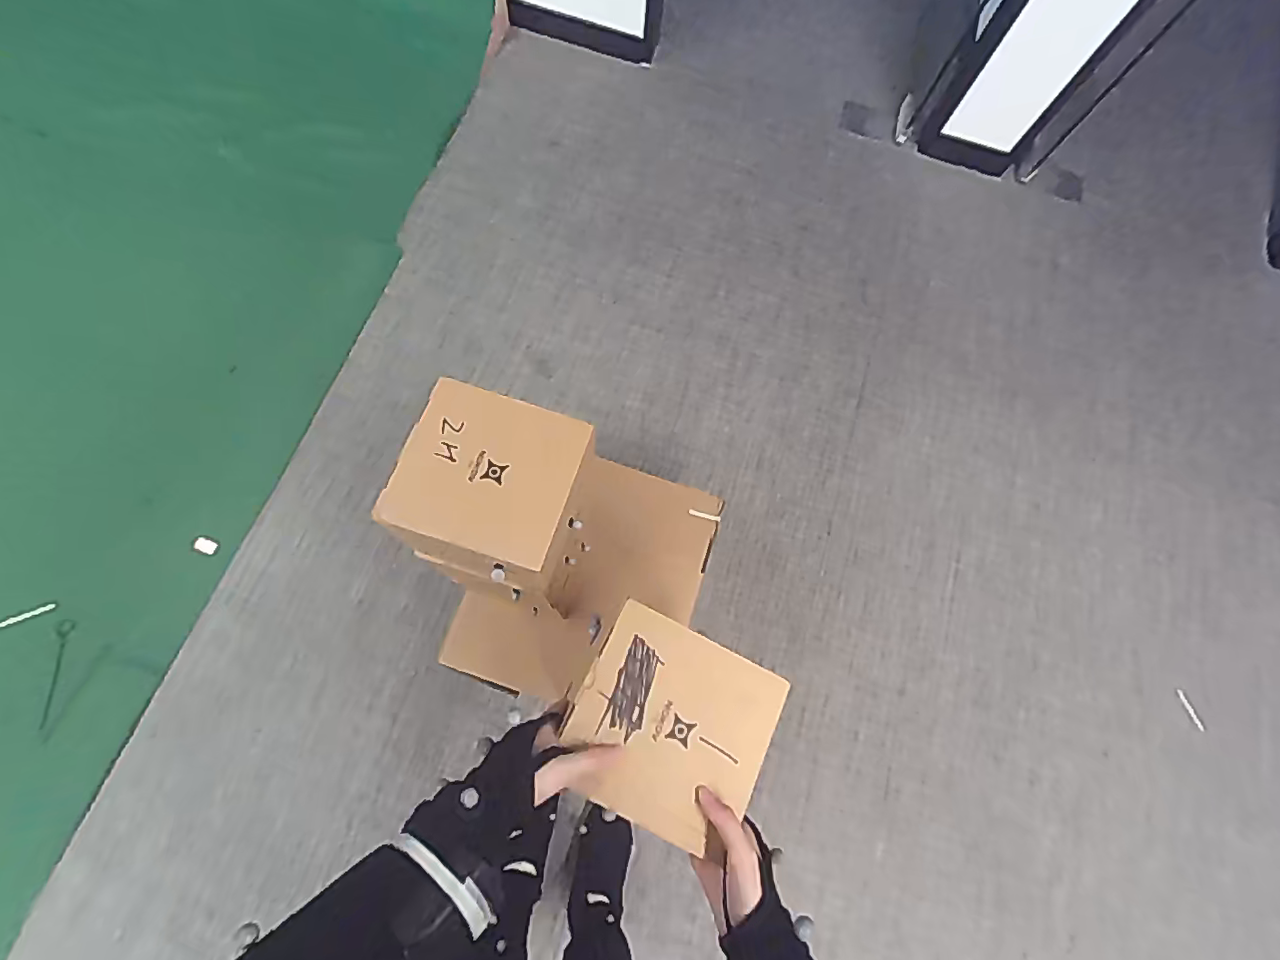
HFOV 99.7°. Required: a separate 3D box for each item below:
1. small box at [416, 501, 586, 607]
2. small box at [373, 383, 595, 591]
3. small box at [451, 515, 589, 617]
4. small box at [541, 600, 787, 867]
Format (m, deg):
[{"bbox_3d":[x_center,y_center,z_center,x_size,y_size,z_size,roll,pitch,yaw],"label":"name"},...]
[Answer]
[{"bbox_3d":[-0.185,0.076,0.778,0.179,0.176,0.168,18,70,0],"label":"small box"},{"bbox_3d":[-0.161,0.021,0.624,0.179,0.176,0.168,19,69,1],"label":"small box"},{"bbox_3d":[-0.193,0.132,0.930,0.179,0.176,0.168,16,70,1],"label":"small box"},{"bbox_3d":[0.014,0.245,0.555,0.179,0.176,0.168,28,70,0],"label":"small box"}]
